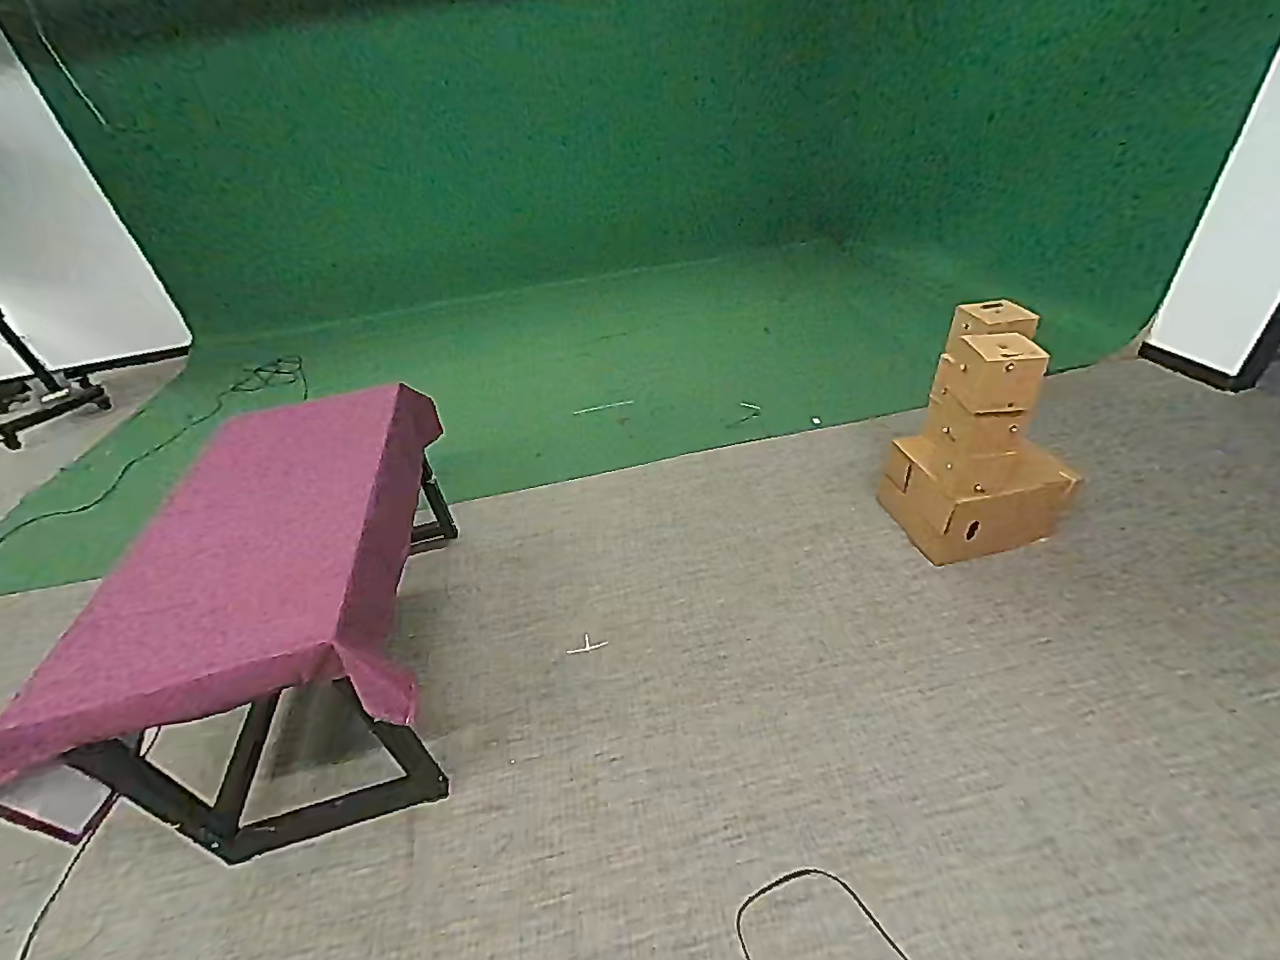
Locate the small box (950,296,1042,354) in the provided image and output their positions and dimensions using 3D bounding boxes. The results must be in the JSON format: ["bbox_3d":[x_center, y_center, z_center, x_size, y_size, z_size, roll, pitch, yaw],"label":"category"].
[{"bbox_3d":[1.157,-0.487,1.775,0.168,0.176,0.179,-8,37,-1],"label":"small box"}]

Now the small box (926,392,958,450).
[{"bbox_3d":[1.180,-0.222,1.967,0.168,0.176,0.179,-10,37,-7],"label":"small box"}]

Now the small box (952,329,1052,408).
[{"bbox_3d":[1.042,-0.324,1.576,0.168,0.176,0.179,-3,36,6],"label":"small box"}]

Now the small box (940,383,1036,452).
[{"bbox_3d":[1.074,-0.204,1.685,0.179,0.176,0.168,-6,37,2],"label":"small box"}]

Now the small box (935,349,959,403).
[{"bbox_3d":[1.163,-0.354,1.873,0.179,0.176,0.168,-11,37,-4],"label":"small box"}]
